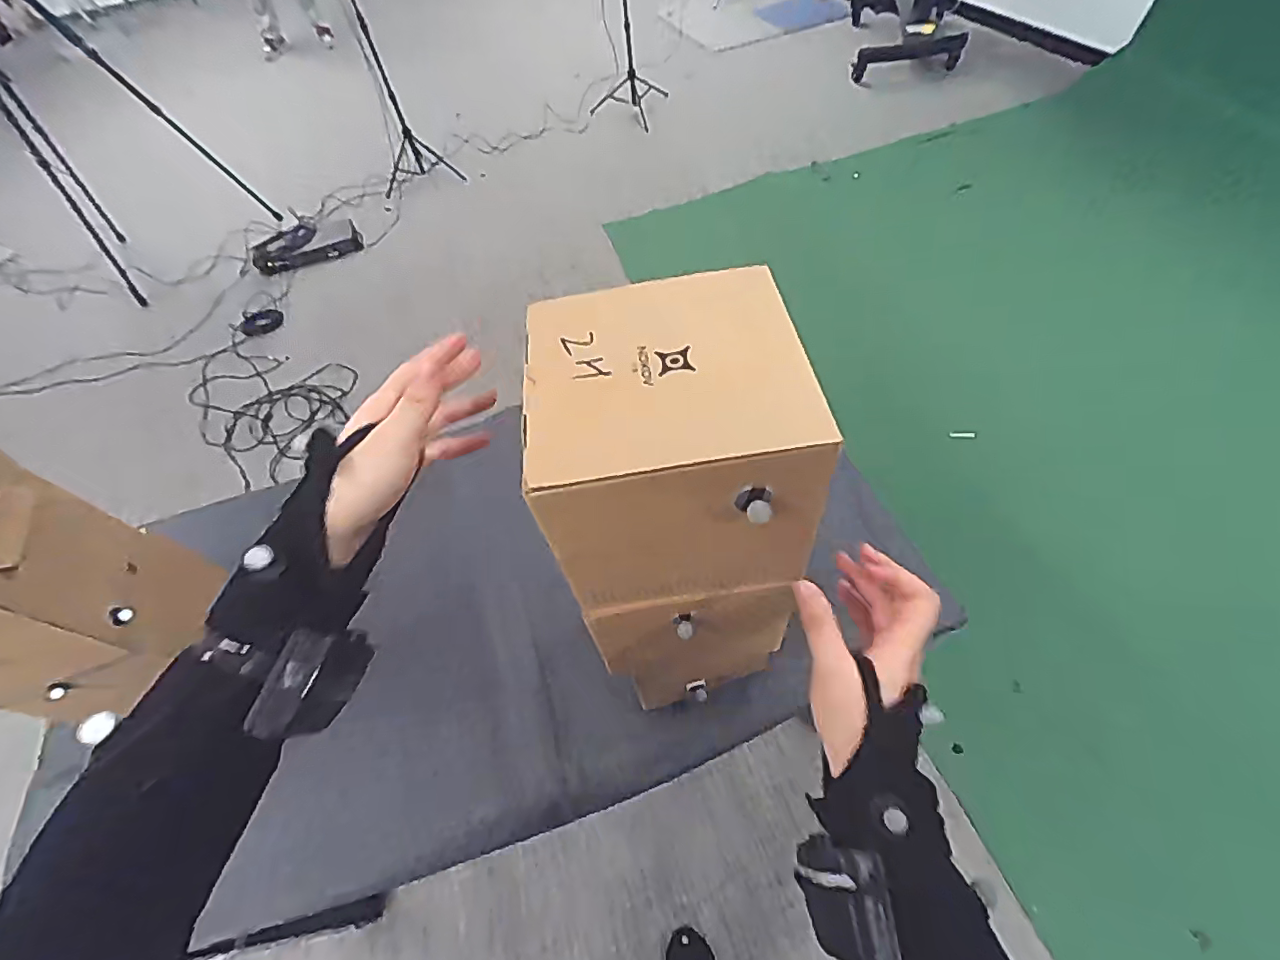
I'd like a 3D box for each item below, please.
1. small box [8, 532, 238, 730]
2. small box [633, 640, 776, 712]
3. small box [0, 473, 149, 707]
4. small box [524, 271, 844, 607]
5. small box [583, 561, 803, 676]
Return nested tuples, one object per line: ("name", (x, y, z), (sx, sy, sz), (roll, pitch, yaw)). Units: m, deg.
("small box", (-0.679, 0.206, 0.726), (0.168, 0.176, 0.179), (-22, 56, -9))
("small box", (0.053, 0.159, 0.670), (0.168, 0.176, 0.179), (-19, 55, -5))
("small box", (-0.687, 0.126, 0.581), (0.179, 0.176, 0.168), (-22, 57, -8))
("small box", (0.024, -0.022, 0.398), (0.179, 0.176, 0.168), (-9, 53, 2))
("small box", (0.041, 0.077, 0.530), (0.179, 0.176, 0.168), (-11, 54, 1))
